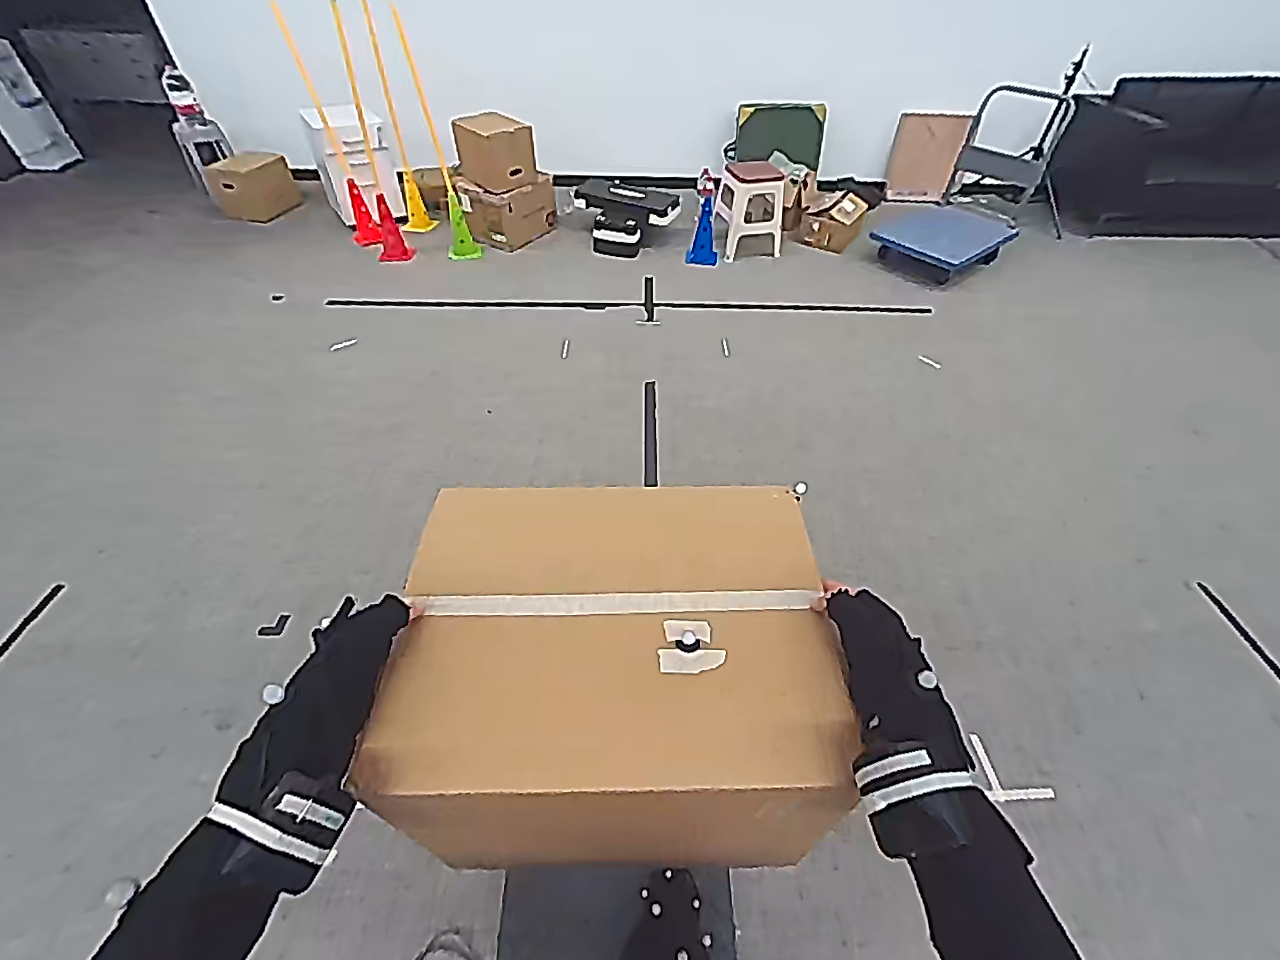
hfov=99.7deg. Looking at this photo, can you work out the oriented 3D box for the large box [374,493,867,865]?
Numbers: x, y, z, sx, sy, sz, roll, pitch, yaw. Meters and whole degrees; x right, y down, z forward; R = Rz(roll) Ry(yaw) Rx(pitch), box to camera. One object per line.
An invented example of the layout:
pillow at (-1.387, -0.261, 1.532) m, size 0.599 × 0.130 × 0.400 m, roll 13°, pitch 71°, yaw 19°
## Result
large box at (-0.019, 0.232, 0.637) m, size 0.408 × 0.320 × 0.320 m, roll 0°, pitch 45°, yaw 0°
